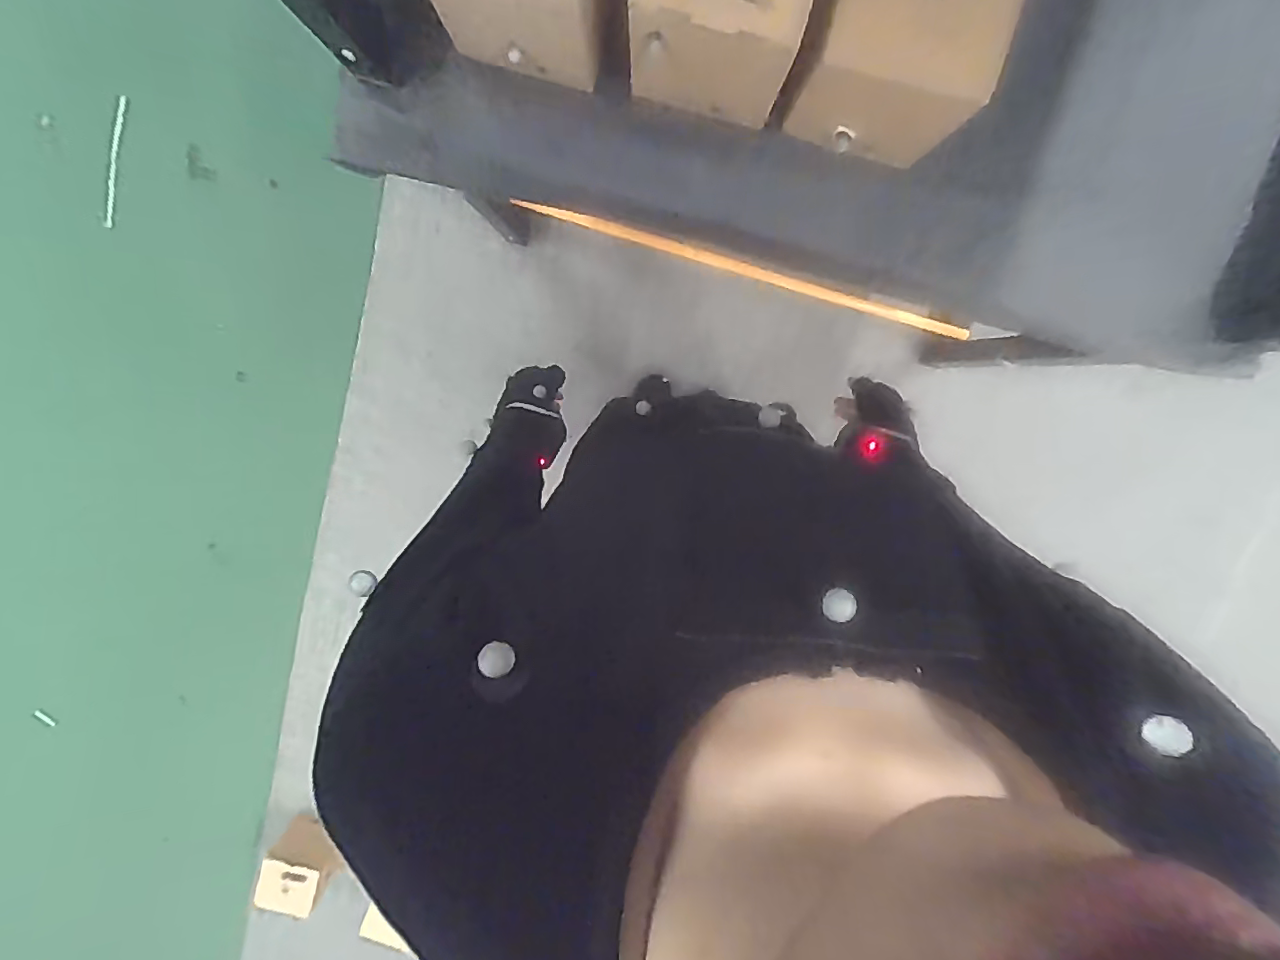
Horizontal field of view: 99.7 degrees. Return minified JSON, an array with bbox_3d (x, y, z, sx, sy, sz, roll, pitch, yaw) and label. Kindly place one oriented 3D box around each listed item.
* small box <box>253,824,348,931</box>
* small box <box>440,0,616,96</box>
[{"bbox_3d":[-1.004,1.177,1.613,0.168,0.176,0.179,18,100,-3],"label":"small box"},{"bbox_3d":[-0.113,-0.548,0.556,0.168,0.176,0.179,14,100,-2],"label":"small box"}]
